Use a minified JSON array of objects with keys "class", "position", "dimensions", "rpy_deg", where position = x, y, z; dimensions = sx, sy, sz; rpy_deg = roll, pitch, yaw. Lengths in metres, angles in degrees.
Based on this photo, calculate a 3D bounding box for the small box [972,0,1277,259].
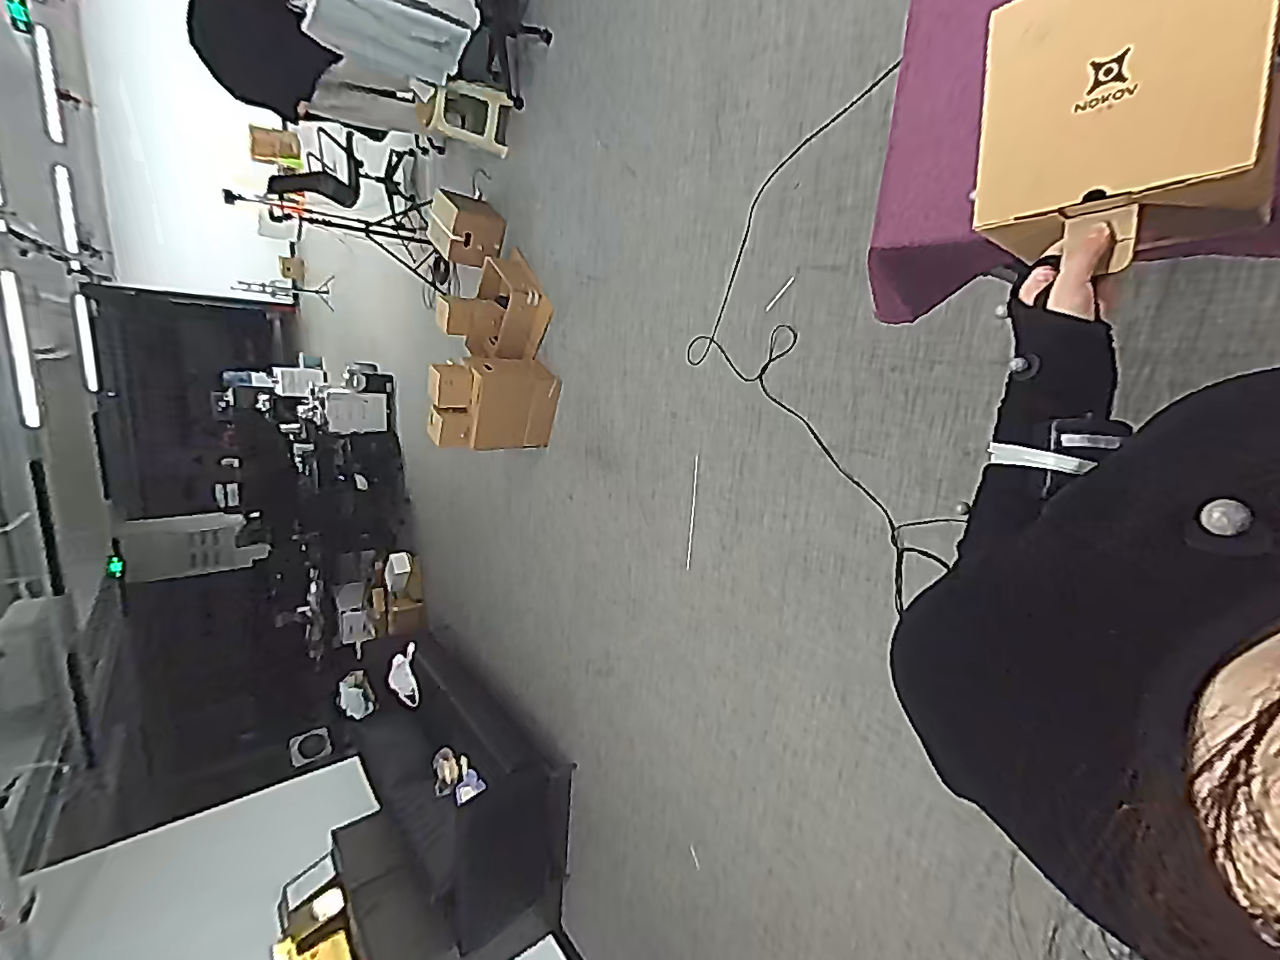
[{"class":"small box","position":[0.413,-0.309,0.466],"dimensions":[0.168,0.176,0.179],"rpy_deg":[9,102,49]}]
